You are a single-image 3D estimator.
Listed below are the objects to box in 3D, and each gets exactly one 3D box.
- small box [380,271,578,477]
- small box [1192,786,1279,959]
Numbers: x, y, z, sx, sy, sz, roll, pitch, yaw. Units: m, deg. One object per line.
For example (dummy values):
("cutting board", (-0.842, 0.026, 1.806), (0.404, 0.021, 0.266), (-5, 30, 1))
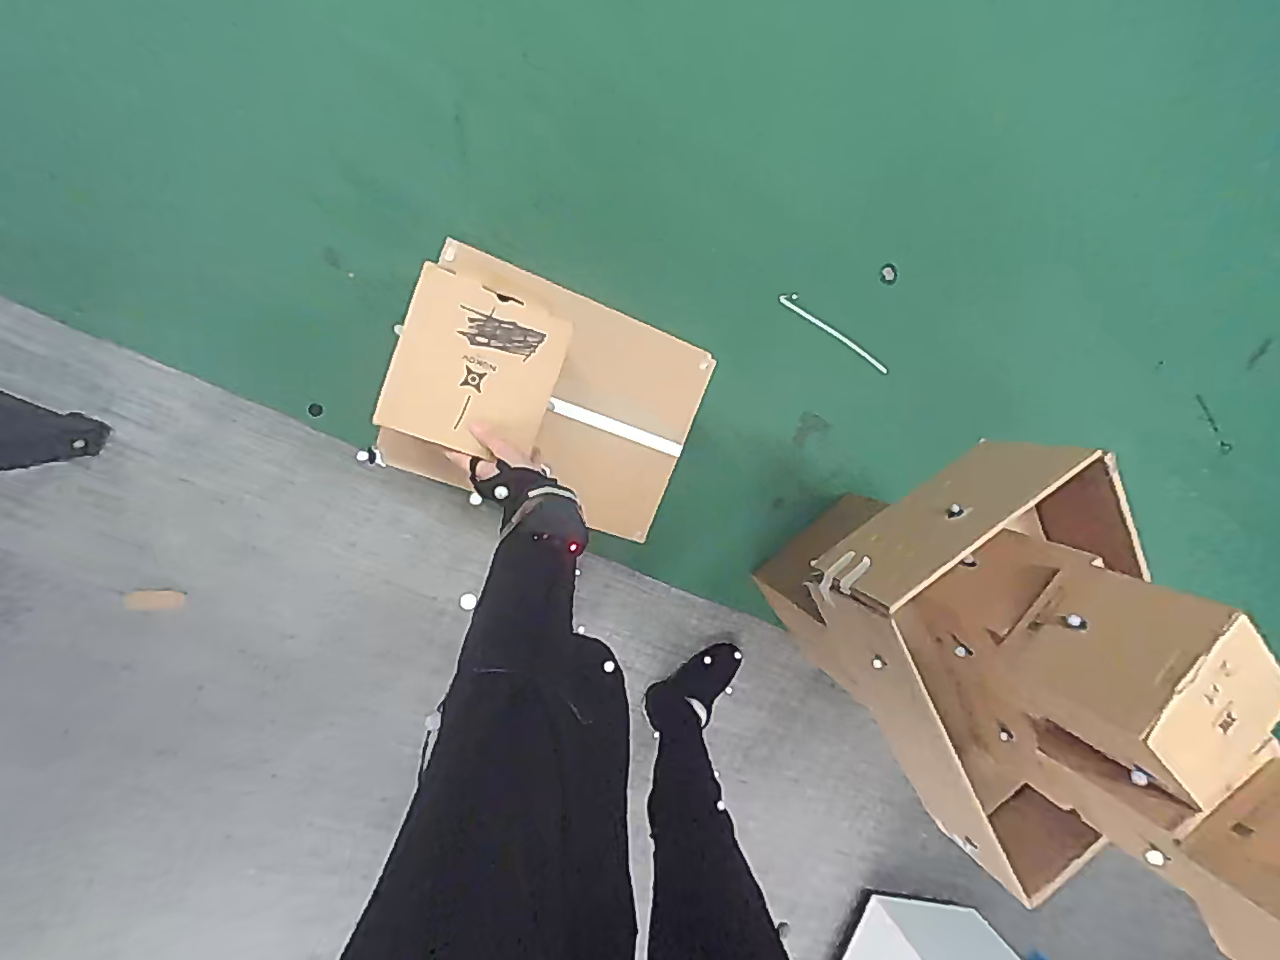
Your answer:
("small box", (-0.191, -0.122, 0.658), (0.168, 0.176, 0.179), (20, 95, -16))
("small box", (0.702, 0.434, 0.524), (0.168, 0.176, 0.179), (-33, 103, -7))
